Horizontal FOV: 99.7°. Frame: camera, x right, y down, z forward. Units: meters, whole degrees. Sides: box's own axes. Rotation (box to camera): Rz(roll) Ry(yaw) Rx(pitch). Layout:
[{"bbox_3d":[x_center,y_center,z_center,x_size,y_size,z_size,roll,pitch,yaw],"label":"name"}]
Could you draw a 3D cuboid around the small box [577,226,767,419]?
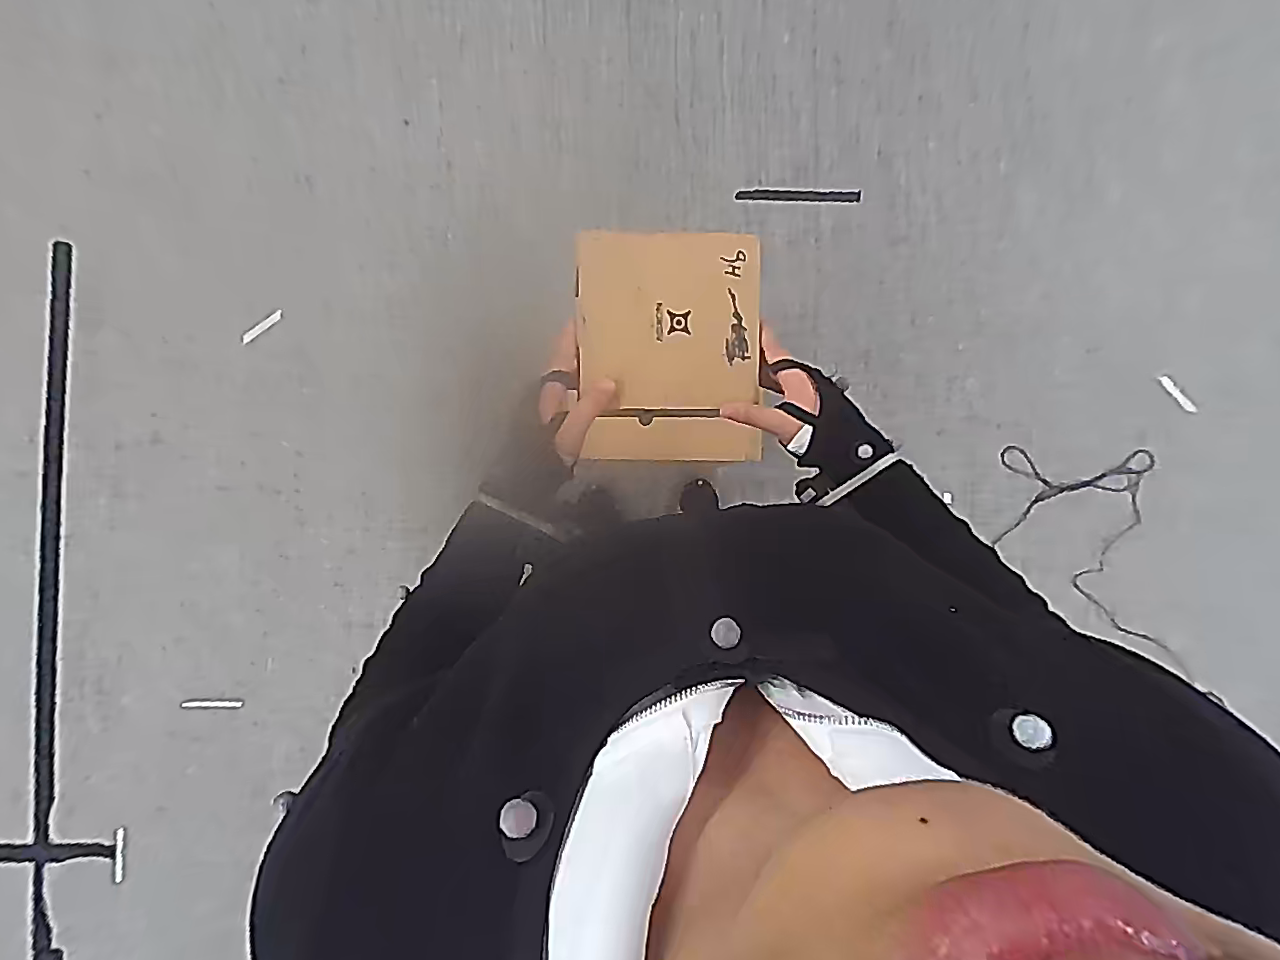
[{"bbox_3d":[0.026,-0.153,0.577,0.179,0.176,0.168,-1,94,-4],"label":"small box"}]
